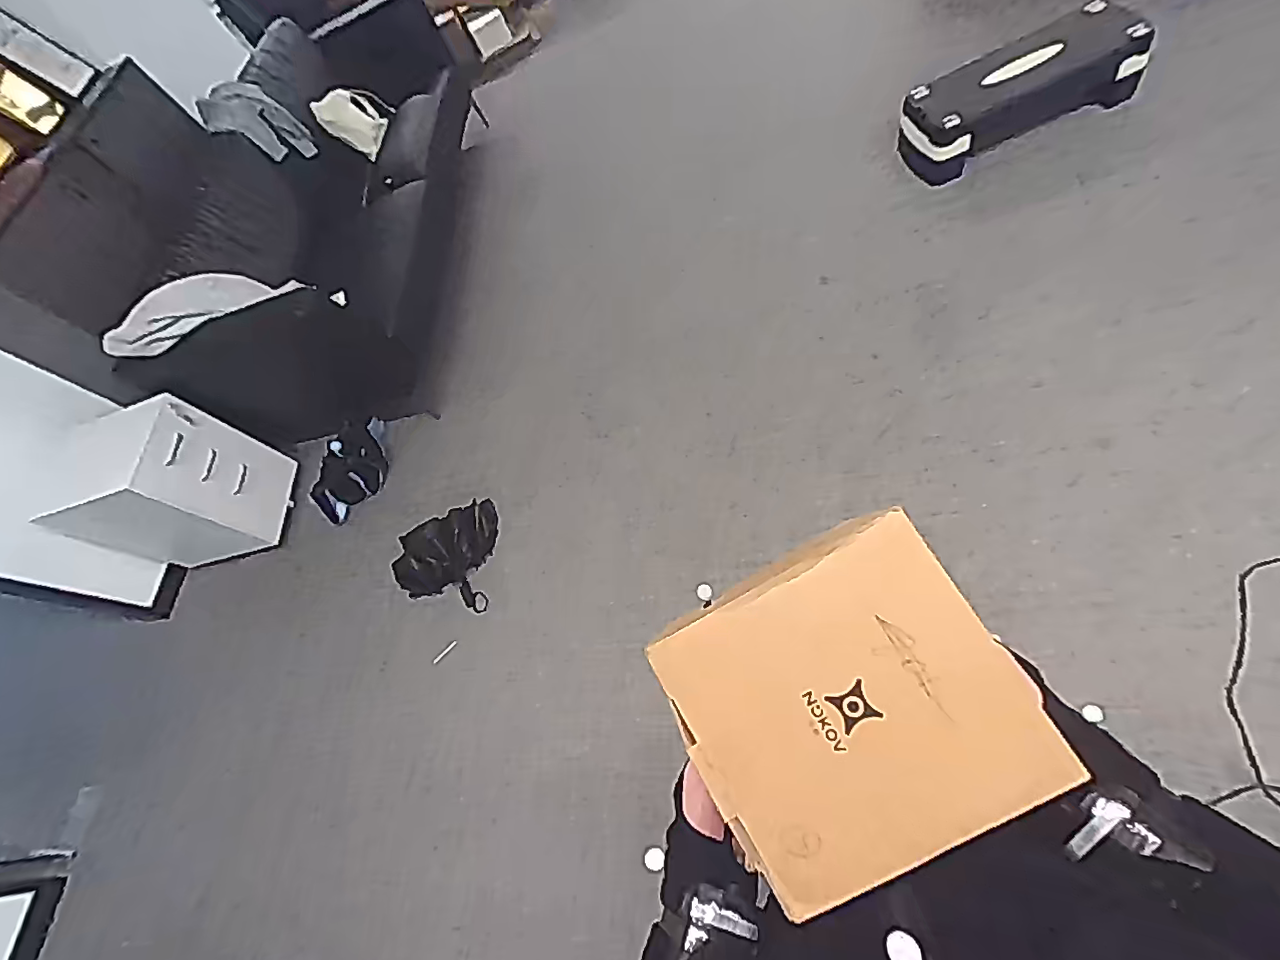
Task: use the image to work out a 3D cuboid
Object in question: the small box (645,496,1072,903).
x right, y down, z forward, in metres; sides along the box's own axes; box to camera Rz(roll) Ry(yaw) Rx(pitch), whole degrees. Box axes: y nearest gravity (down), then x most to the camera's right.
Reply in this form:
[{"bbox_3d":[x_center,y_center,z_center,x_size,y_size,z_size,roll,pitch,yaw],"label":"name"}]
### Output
[{"bbox_3d":[0.129,0.131,0.382,0.179,0.176,0.168,-33,79,5],"label":"small box"}]
